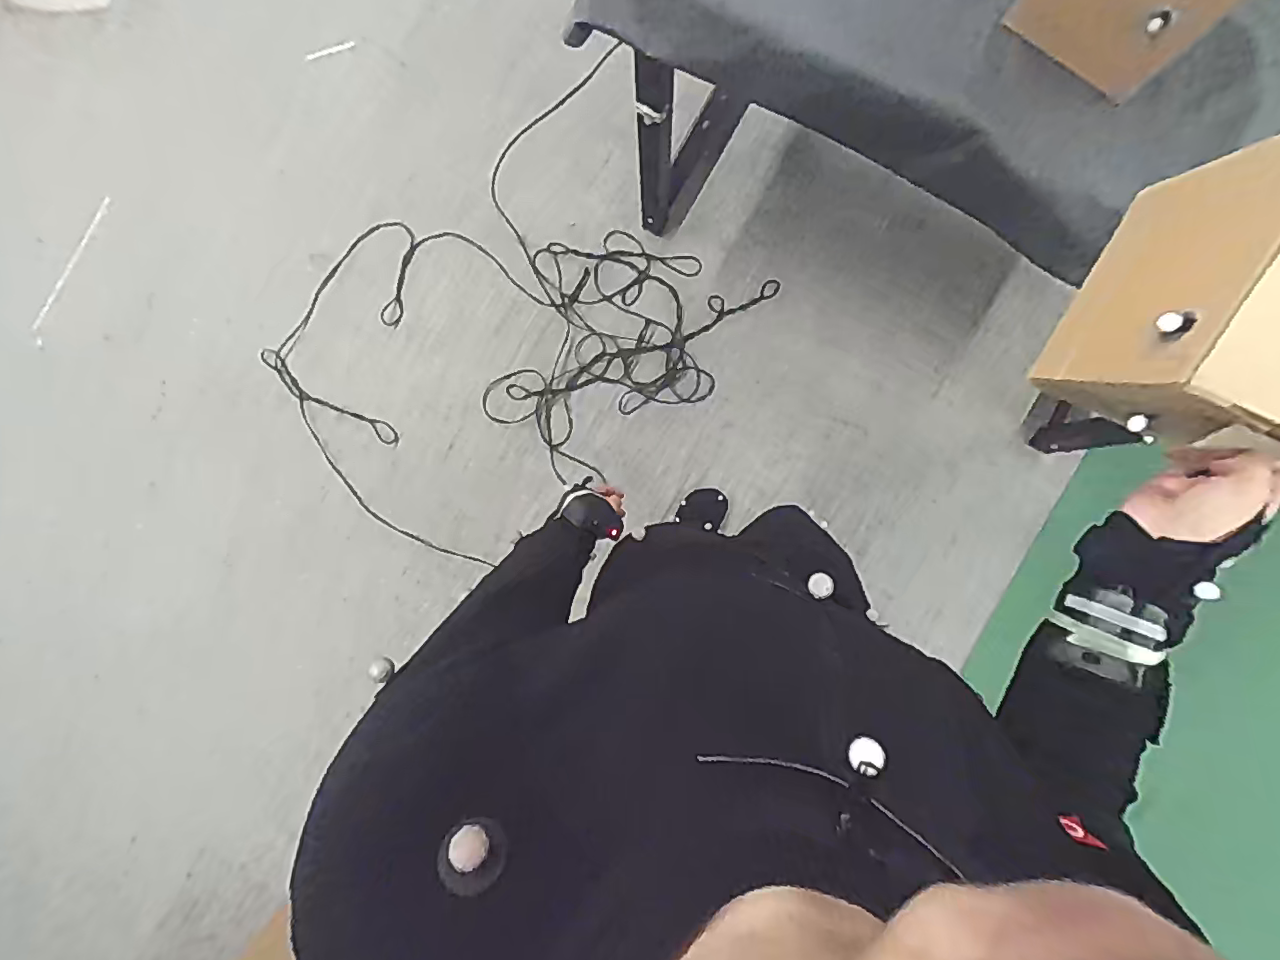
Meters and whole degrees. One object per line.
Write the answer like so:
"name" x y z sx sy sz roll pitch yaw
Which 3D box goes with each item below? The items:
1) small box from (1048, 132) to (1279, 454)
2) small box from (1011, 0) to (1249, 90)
"small box" 0.446 -0.126 0.380 0.168 0.176 0.179 24 105 1
"small box" 0.552 -0.562 0.564 0.179 0.176 0.168 37 88 3
